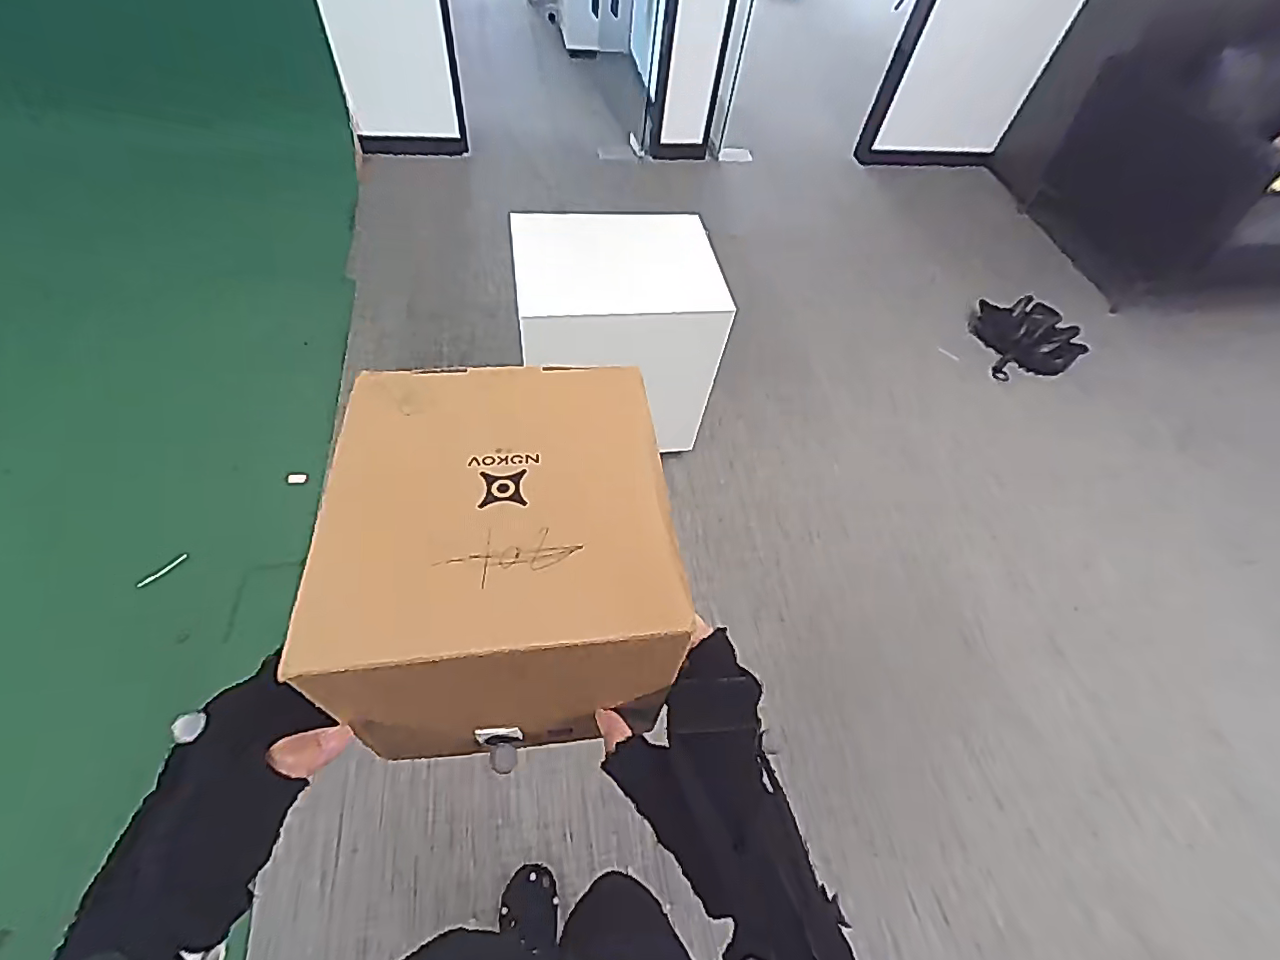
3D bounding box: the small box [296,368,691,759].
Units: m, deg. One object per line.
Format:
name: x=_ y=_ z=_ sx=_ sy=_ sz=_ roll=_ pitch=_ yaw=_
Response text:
small box: x=-0.076 y=0.053 z=0.339 sx=0.168 sy=0.176 sz=0.179 roll=-5 pitch=53 yaw=-9
